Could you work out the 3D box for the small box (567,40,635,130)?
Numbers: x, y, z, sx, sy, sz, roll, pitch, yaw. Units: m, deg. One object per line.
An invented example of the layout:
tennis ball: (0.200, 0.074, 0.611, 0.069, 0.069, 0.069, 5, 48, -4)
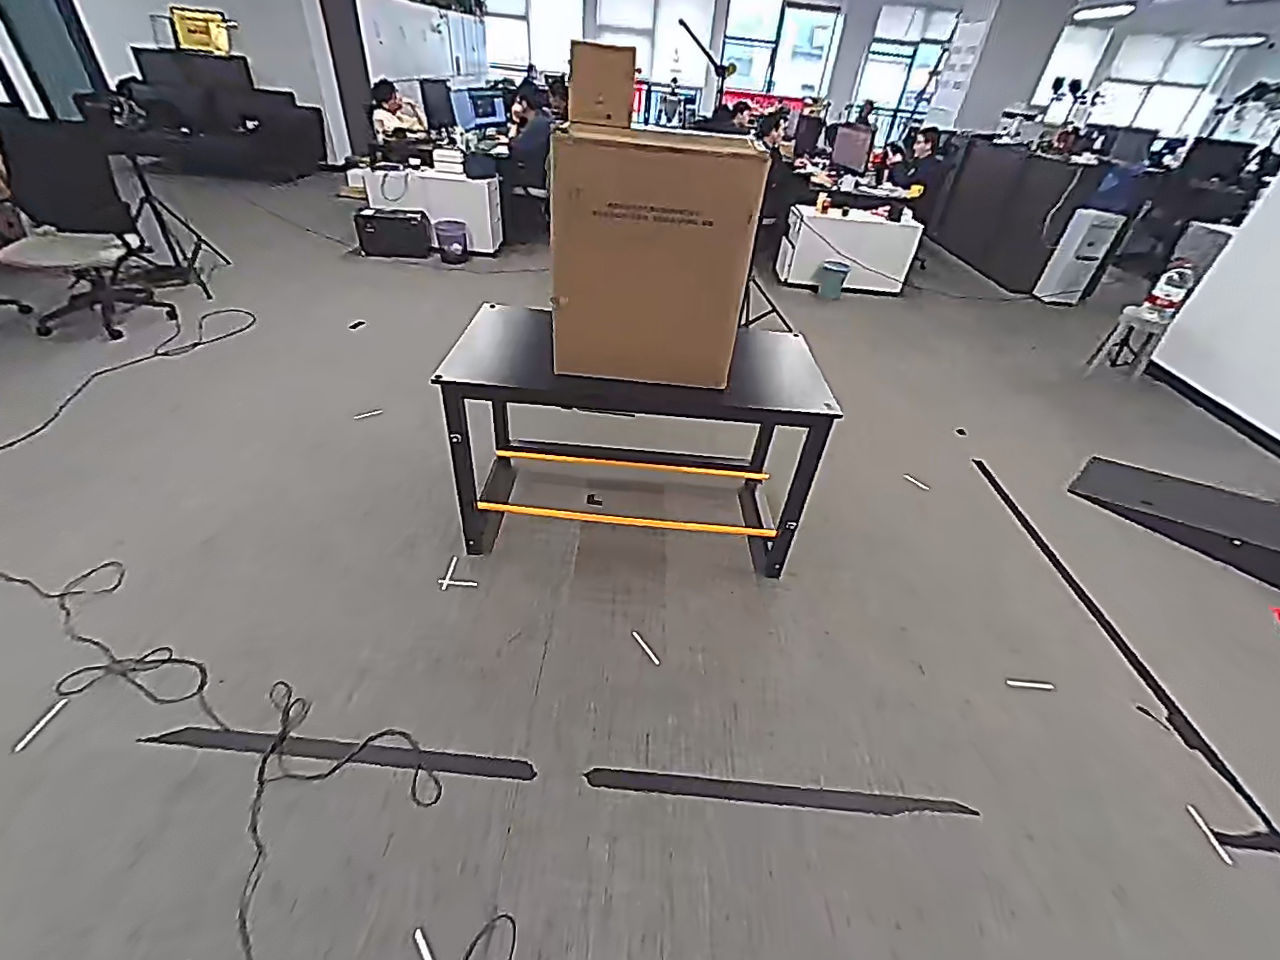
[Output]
small box: (-0.102, -1.036, 1.426, 0.168, 0.176, 0.179, 4, 36, -3)
